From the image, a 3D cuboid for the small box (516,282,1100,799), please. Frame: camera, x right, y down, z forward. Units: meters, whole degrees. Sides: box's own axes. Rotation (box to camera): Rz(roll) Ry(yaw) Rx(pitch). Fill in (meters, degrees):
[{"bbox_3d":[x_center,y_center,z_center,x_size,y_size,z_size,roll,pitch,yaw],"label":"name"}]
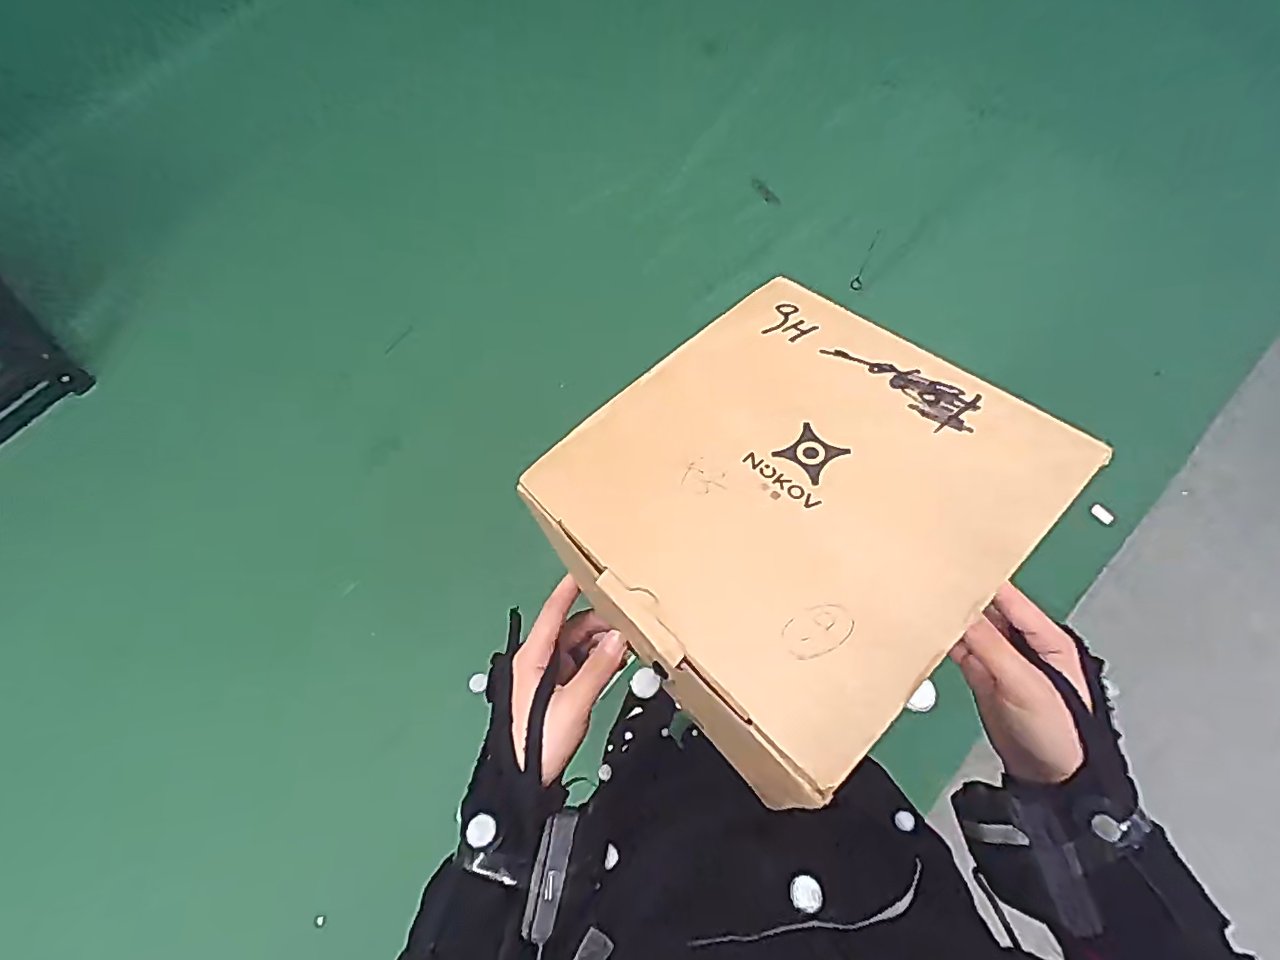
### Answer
[{"bbox_3d":[0.071,0.039,0.287,0.179,0.176,0.168,-39,60,-15],"label":"small box"}]
